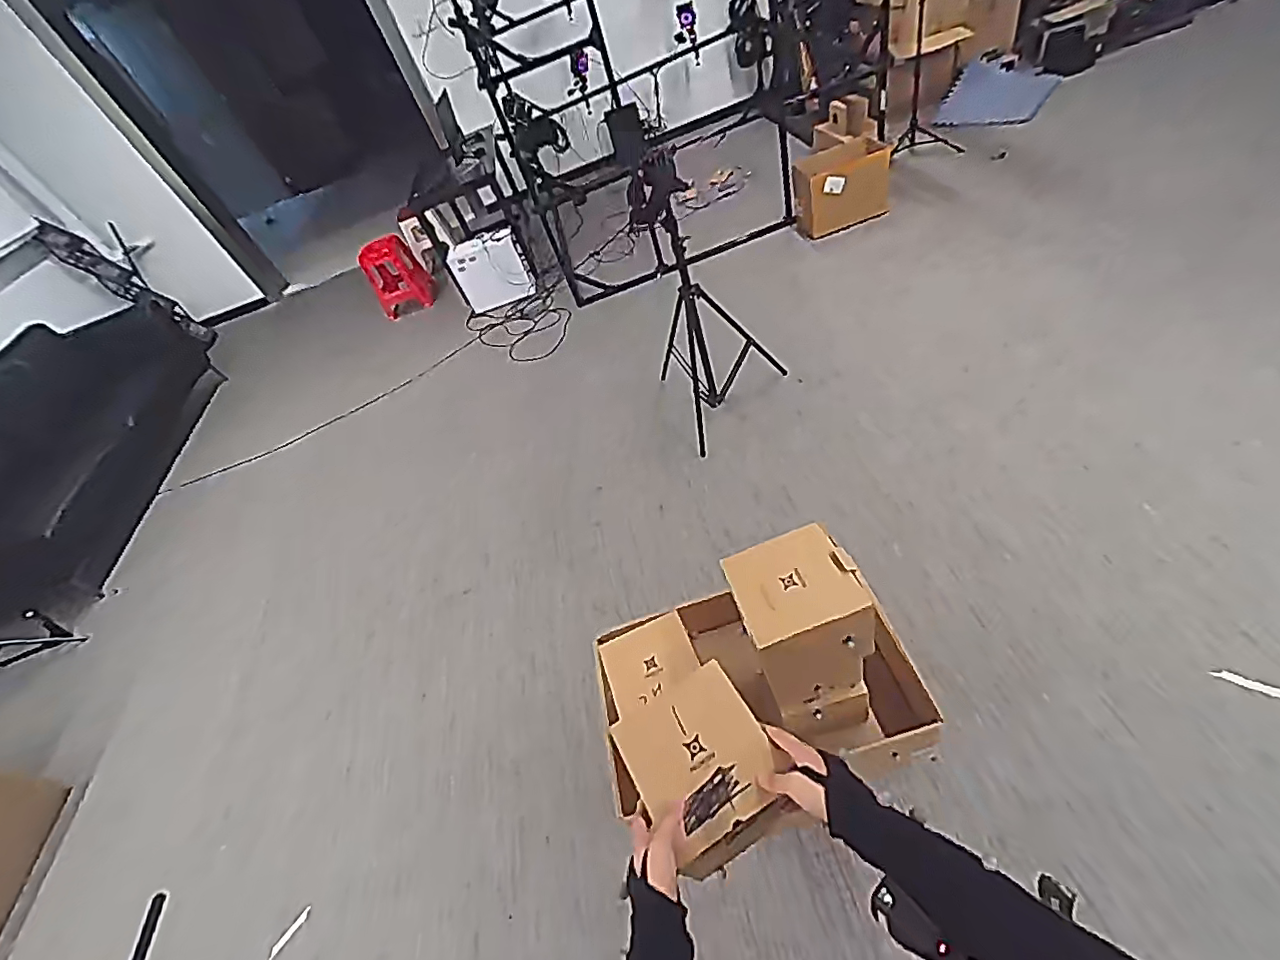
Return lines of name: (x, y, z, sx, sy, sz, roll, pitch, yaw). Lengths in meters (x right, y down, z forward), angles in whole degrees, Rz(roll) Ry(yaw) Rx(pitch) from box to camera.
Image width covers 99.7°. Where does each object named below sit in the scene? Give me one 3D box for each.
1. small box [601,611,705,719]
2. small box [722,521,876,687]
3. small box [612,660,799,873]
small box: (0.046, 0.385, 1.015, 0.168, 0.176, 0.179, -26, 46, 0)
small box: (0.251, 0.201, 0.863, 0.179, 0.176, 0.168, -22, 44, 3)
small box: (0.090, 0.375, 0.702, 0.168, 0.176, 0.179, -30, 48, -9)
